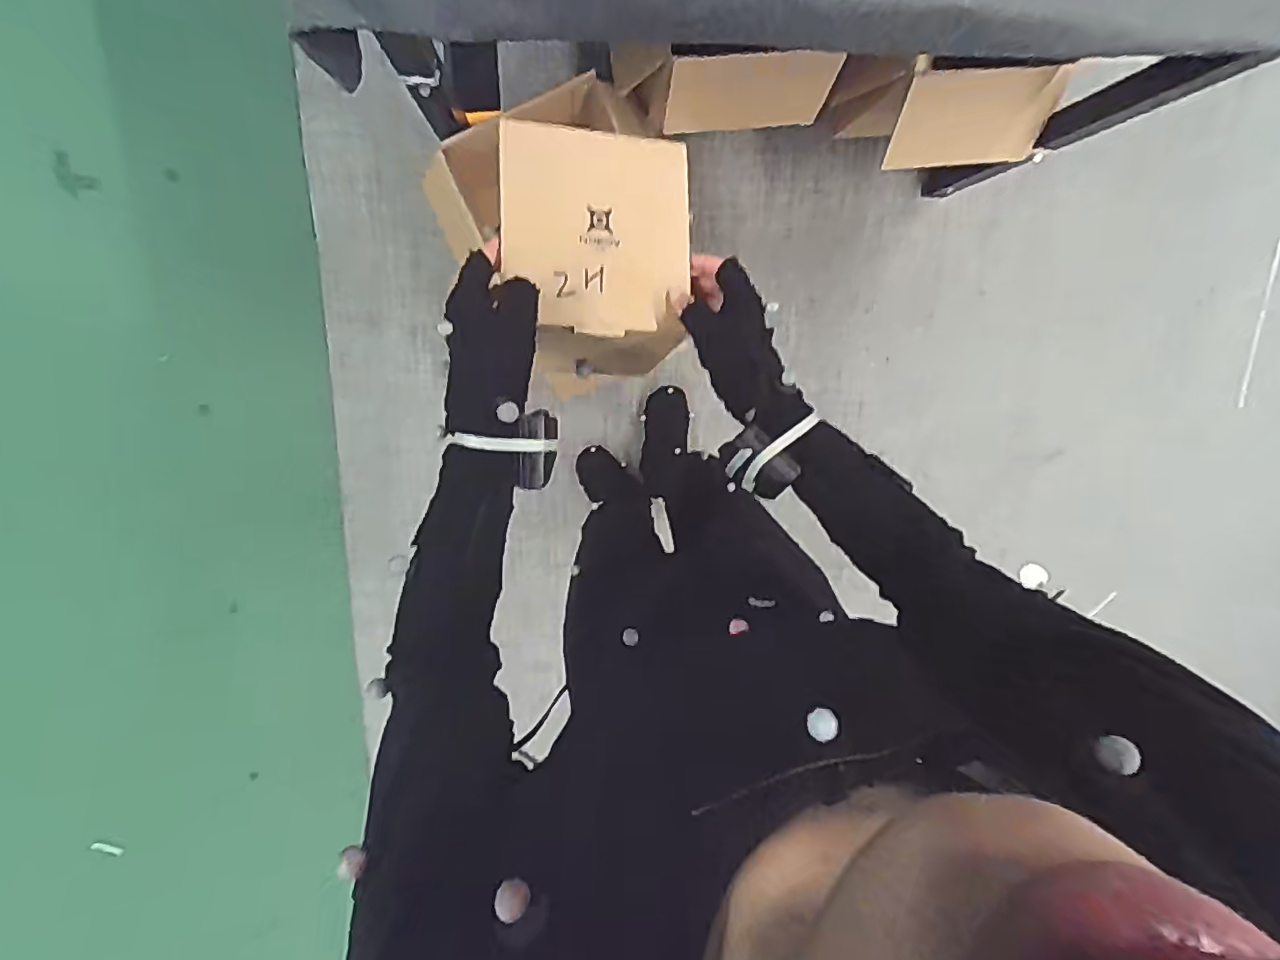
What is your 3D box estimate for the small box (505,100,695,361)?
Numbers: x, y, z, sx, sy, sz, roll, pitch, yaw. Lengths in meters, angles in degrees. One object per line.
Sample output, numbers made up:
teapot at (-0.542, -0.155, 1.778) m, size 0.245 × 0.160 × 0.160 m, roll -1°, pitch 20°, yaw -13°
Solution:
small box at (-0.050, -0.227, 0.539) m, size 0.168 × 0.176 × 0.179 m, roll -1°, pitch 90°, yaw -12°
